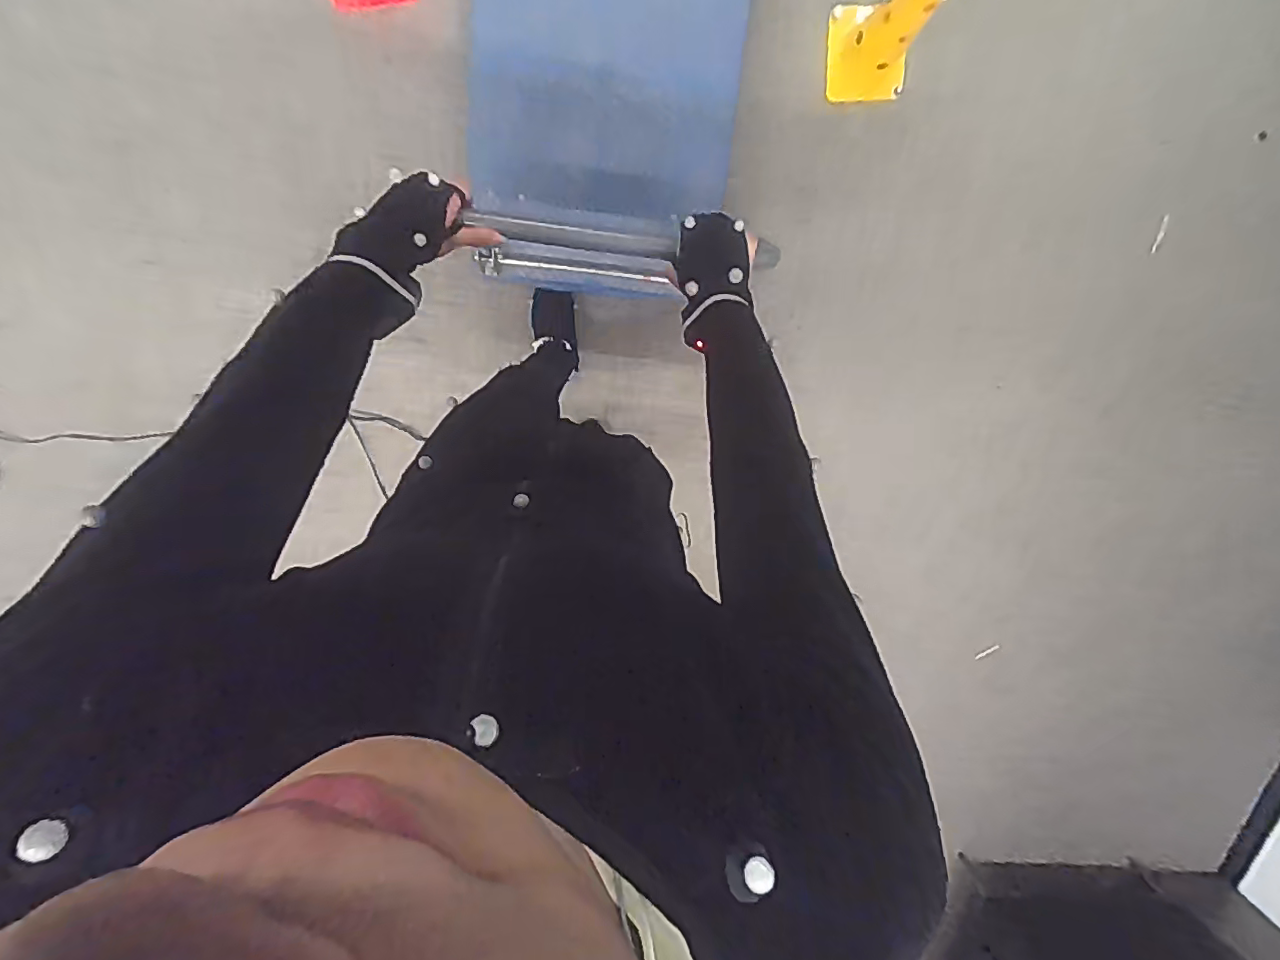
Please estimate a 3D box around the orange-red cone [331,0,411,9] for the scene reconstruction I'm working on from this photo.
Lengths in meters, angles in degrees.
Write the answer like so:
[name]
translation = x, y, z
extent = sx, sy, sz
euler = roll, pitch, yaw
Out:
[orange-red cone]
translation = -0.599, -1.115, 1.033
extent = 0.199, 0.360, 0.198
euler = -7, 108, -1
